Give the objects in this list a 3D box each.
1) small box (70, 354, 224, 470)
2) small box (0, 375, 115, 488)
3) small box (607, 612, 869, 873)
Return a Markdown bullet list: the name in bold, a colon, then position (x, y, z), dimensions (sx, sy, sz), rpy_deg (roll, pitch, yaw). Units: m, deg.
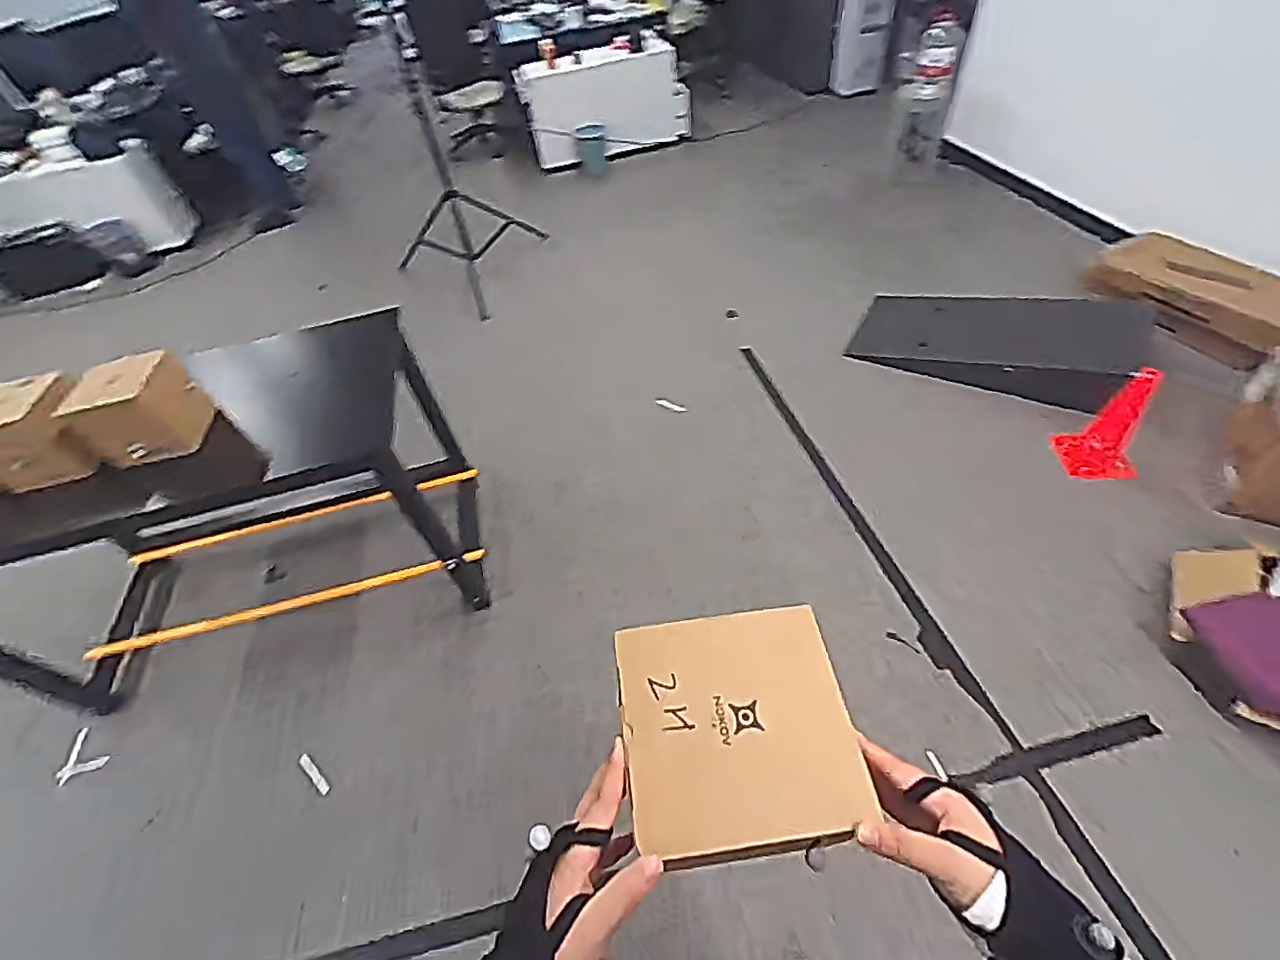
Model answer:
- **small box**: position (-1.090, -0.152, 1.217), dimensions (0.168, 0.176, 0.179), rpy_deg (-15, 49, -3)
- **small box**: position (-1.309, -0.100, 1.201), dimensions (0.168, 0.176, 0.179), rpy_deg (-14, 49, -4)
- **small box**: position (0.069, 0.238, 0.485), dimensions (0.179, 0.176, 0.168), rpy_deg (-8, 51, -3)
